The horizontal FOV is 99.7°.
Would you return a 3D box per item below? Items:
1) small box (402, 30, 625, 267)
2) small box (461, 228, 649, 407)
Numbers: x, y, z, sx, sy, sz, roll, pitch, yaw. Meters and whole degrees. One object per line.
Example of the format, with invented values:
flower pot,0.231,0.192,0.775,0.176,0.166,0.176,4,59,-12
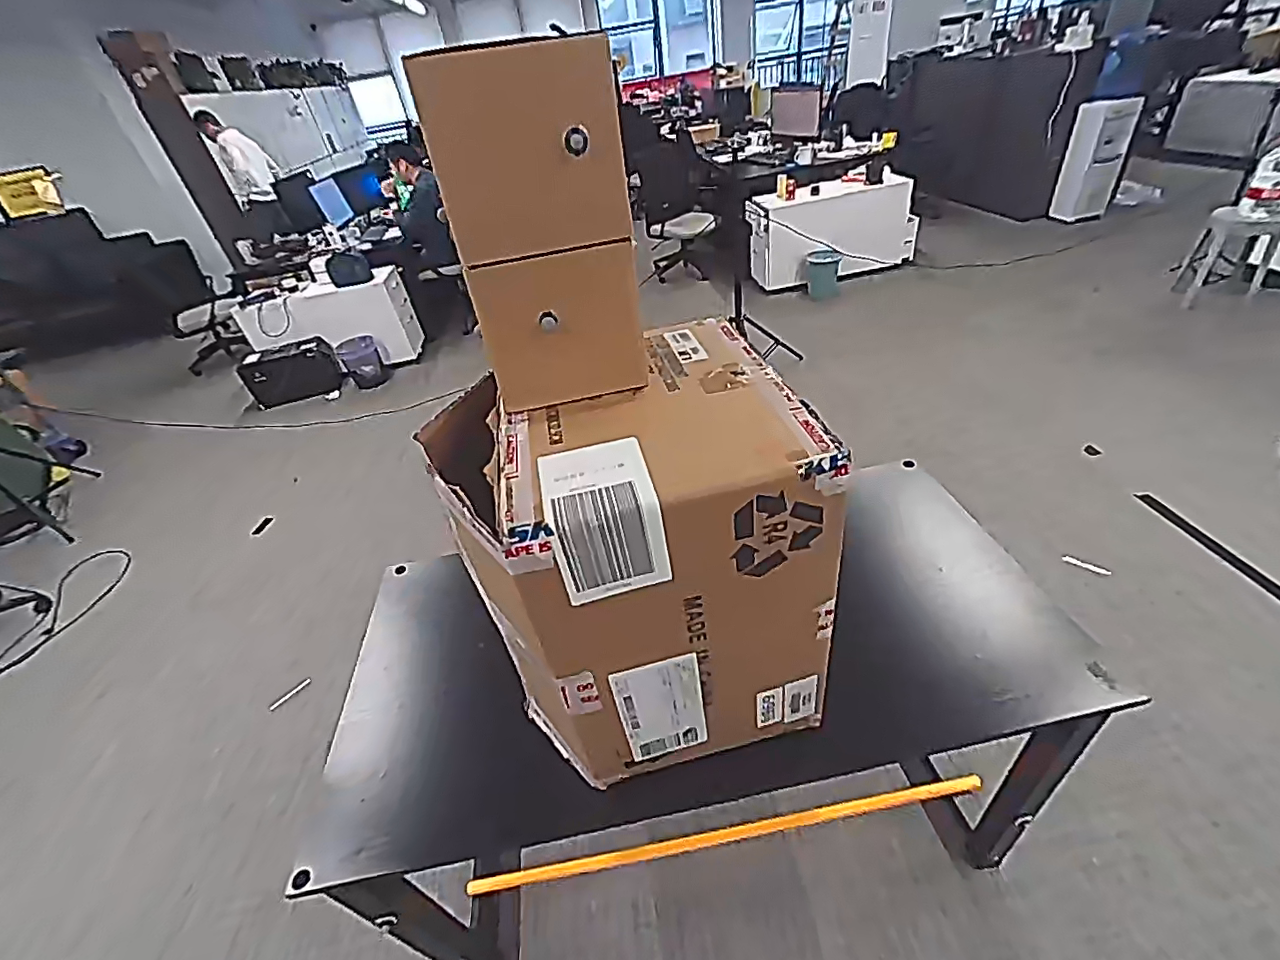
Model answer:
small box,-0.118,-0.334,0.556,0.179,0.176,0.168,-15,35,-7
small box,-0.098,-0.205,0.654,0.179,0.176,0.168,-13,36,-5
